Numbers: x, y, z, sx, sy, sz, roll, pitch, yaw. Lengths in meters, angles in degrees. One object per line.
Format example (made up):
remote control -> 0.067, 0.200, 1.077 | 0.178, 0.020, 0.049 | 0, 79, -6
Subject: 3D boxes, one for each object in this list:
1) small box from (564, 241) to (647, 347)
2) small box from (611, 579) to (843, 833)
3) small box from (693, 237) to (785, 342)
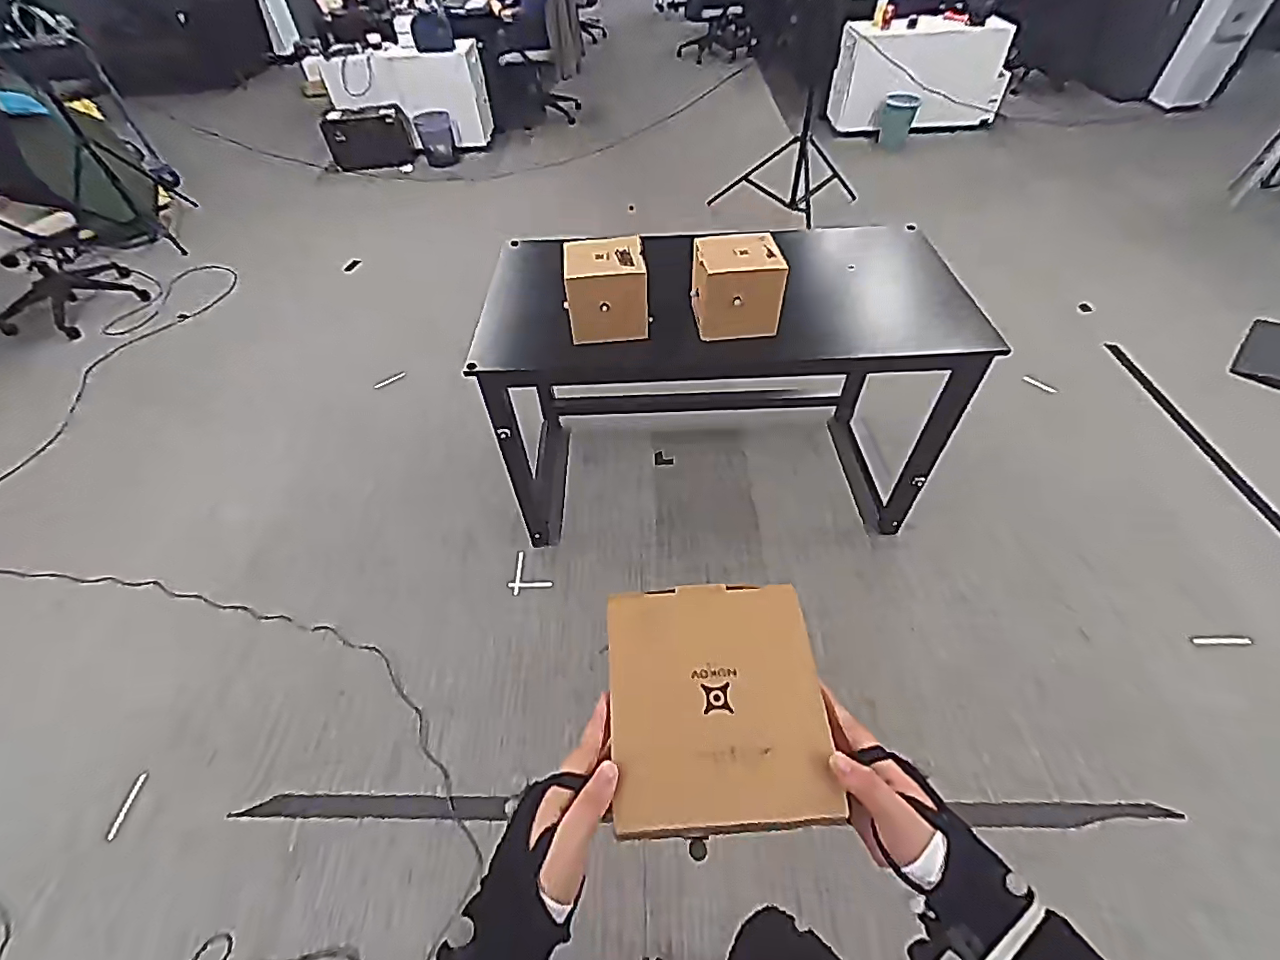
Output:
small box -> -0.077, -0.427, 1.251 | 0.179, 0.176, 0.168 | -6, 49, -1
small box -> 0.057, 0.206, 0.490 | 0.168, 0.176, 0.179 | -2, 54, -2
small box -> 0.218, -0.433, 1.242 | 0.179, 0.176, 0.168 | -6, 49, -1
